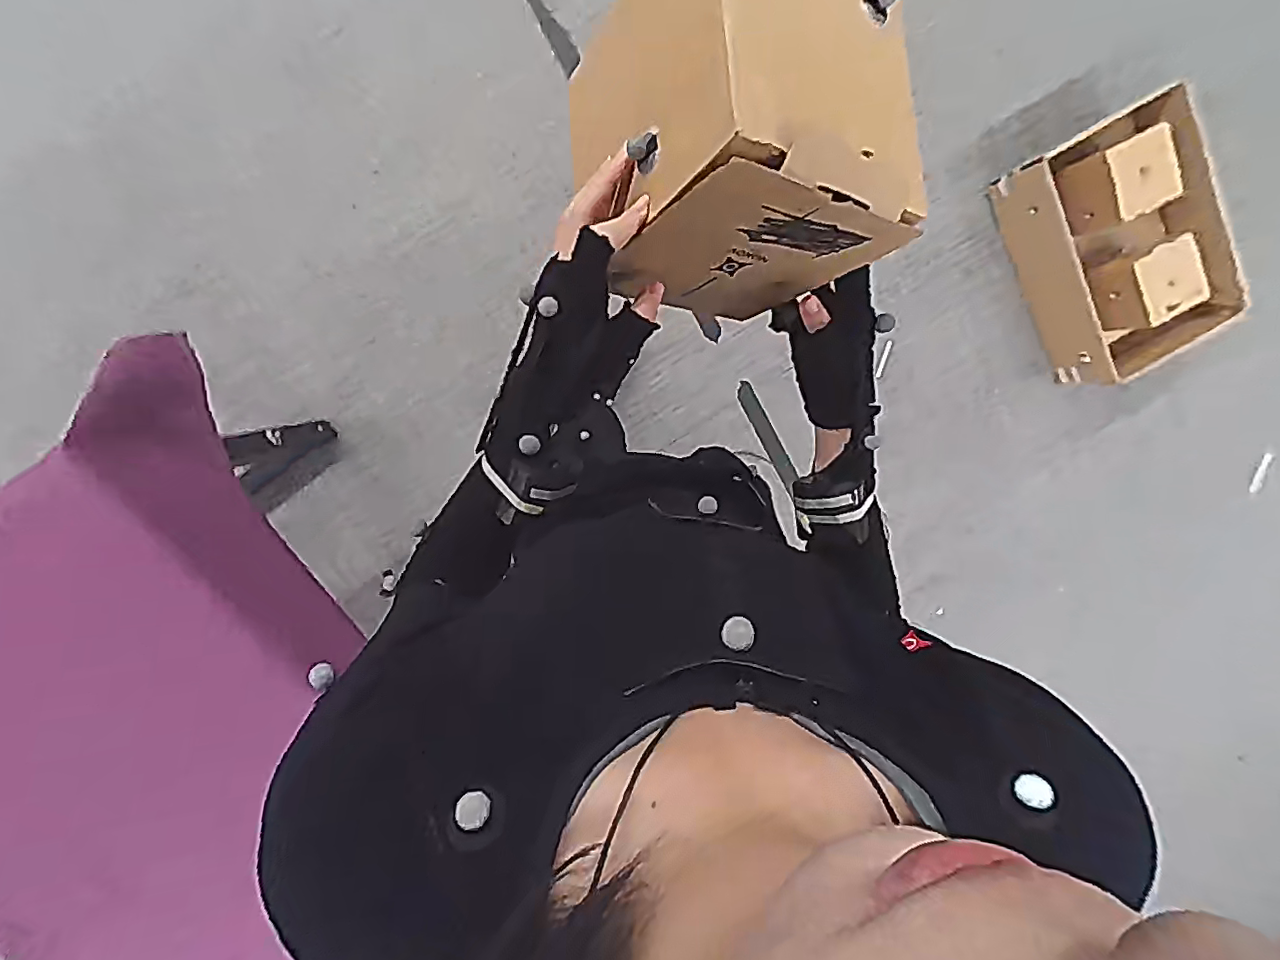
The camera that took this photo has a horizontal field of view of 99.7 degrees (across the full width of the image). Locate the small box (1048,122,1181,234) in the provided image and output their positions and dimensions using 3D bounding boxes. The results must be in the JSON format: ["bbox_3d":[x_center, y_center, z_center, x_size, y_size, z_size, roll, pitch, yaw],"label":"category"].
[{"bbox_3d":[1.185,-0.745,1.361,0.168,0.176,0.179,-27,102,0],"label":"small box"}]

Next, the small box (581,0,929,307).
[{"bbox_3d":[0.067,-0.245,0.378,0.168,0.179,0.176,-1,85,-35],"label":"small box"}]

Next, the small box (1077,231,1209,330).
[{"bbox_3d":[1.305,-0.512,1.416,0.168,0.176,0.179,-29,100,2],"label":"small box"}]
